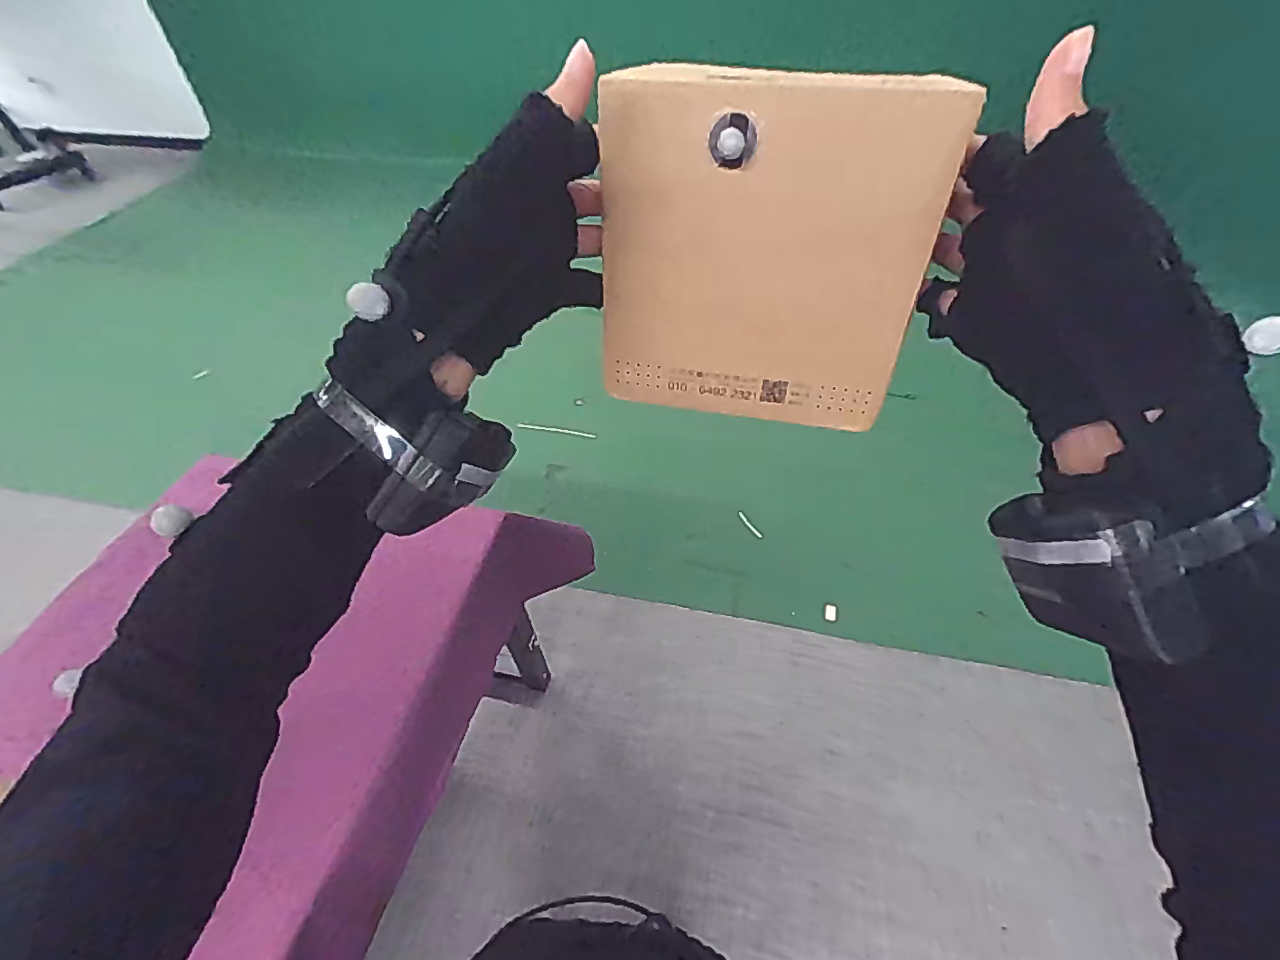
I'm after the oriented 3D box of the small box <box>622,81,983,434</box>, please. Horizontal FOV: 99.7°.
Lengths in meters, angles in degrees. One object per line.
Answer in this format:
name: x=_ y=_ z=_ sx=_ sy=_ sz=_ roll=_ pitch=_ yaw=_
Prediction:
small box: x=0.086 y=-0.153 z=0.357 sx=0.168 sy=0.176 sz=0.179 roll=9 pitch=37 yaw=11
